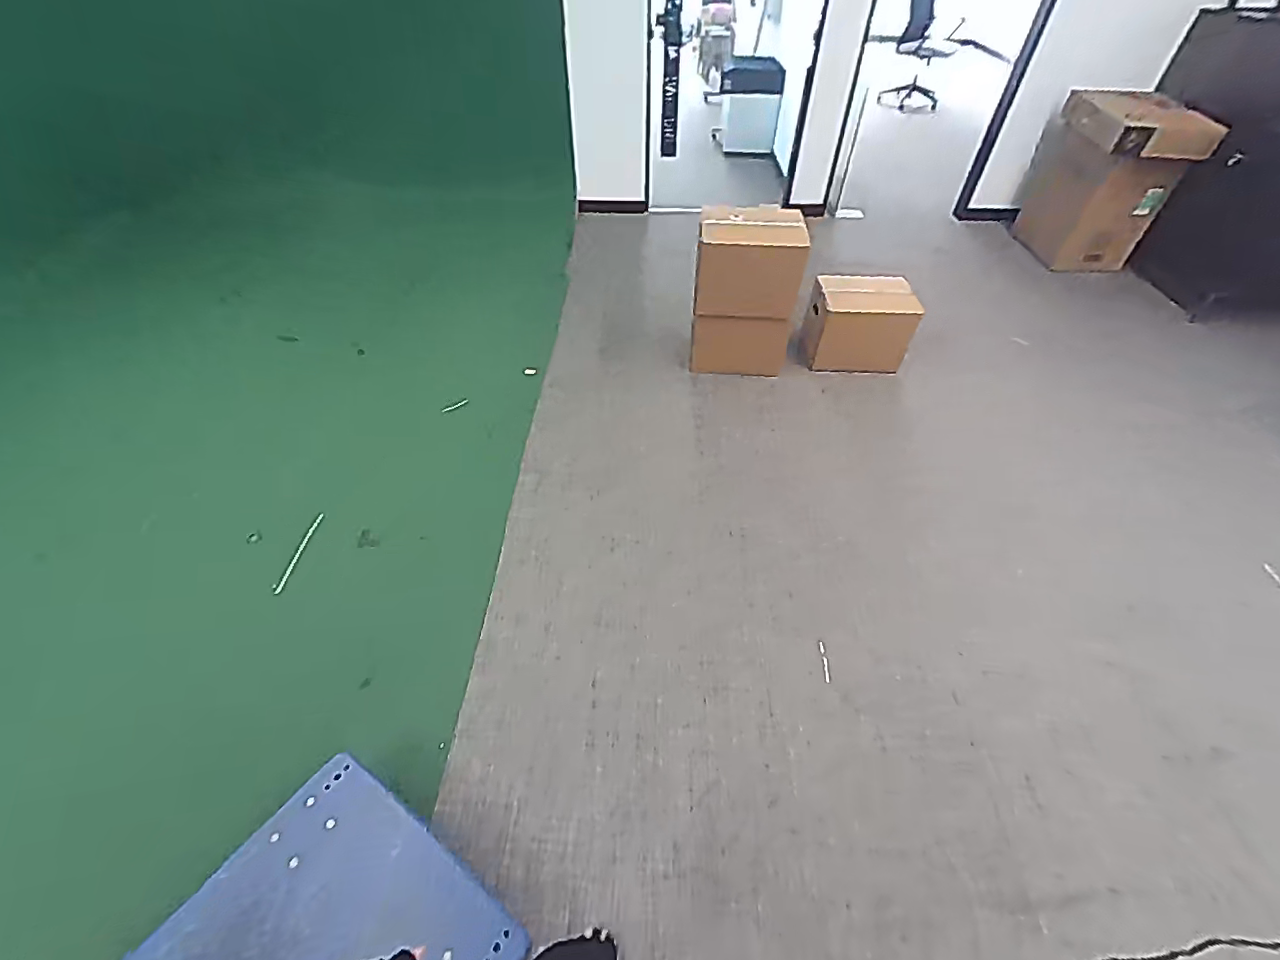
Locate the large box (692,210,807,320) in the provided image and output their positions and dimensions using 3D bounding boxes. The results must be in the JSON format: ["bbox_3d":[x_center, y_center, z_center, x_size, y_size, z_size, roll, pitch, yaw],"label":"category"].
[{"bbox_3d":[0.424,-0.870,2.193,0.408,0.320,0.320,3,49,3],"label":"large box"}]
